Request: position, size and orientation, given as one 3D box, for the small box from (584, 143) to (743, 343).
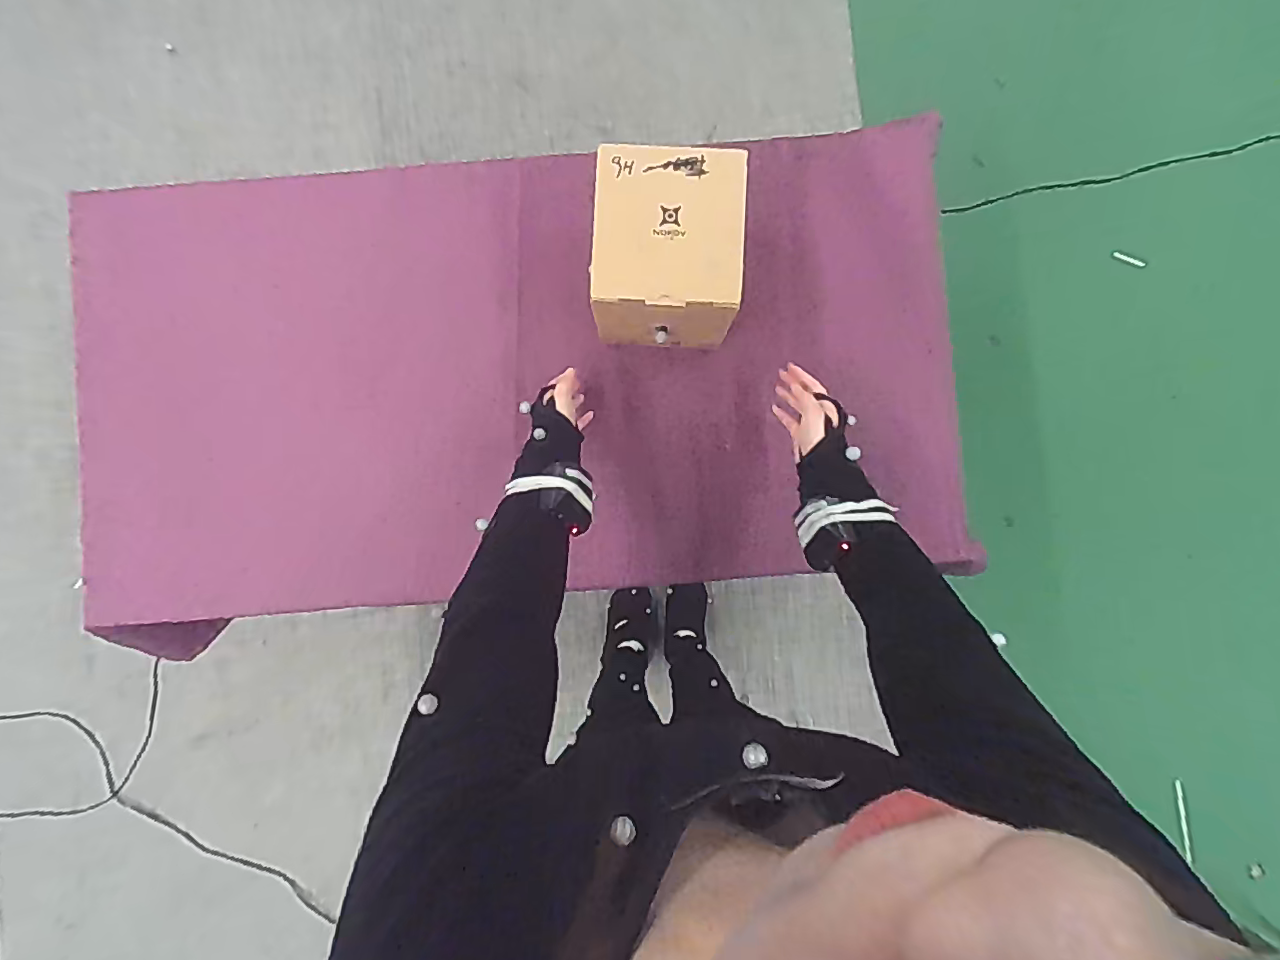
[{"bbox_3d":[0.028,-0.276,0.665,0.168,0.176,0.179,3,89,1],"label":"small box"}]
